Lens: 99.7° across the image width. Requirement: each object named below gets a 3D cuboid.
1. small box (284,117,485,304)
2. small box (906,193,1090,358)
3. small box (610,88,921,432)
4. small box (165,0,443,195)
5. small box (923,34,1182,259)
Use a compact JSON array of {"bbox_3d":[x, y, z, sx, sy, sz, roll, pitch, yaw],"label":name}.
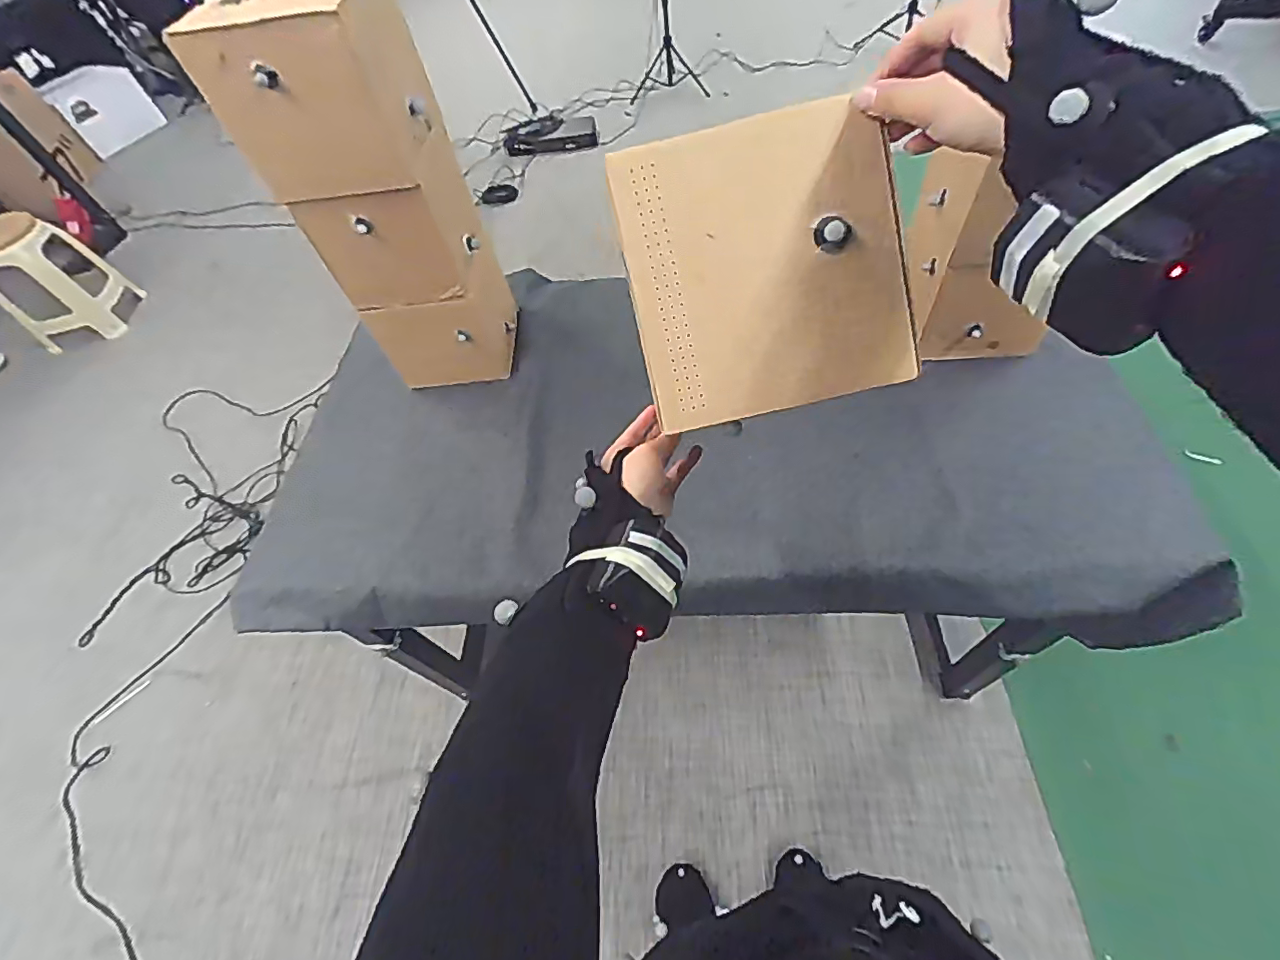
[{"bbox_3d":[-0.335,-0.364,0.749,0.179,0.176,0.168,-5,58,3],"label":"small box"},{"bbox_3d":[0.483,-0.298,0.779,0.168,0.176,0.179,-1,58,9],"label":"small box"},{"bbox_3d":[0.077,-0.141,0.408,0.176,0.168,0.179,-11,98,3],"label":"small box"},{"bbox_3d":[-0.351,-0.445,0.606,0.179,0.176,0.168,-3,58,5],"label":"small box"},{"bbox_3d":[0.459,-0.381,0.640,0.168,0.176,0.179,0,59,8],"label":"small box"}]
